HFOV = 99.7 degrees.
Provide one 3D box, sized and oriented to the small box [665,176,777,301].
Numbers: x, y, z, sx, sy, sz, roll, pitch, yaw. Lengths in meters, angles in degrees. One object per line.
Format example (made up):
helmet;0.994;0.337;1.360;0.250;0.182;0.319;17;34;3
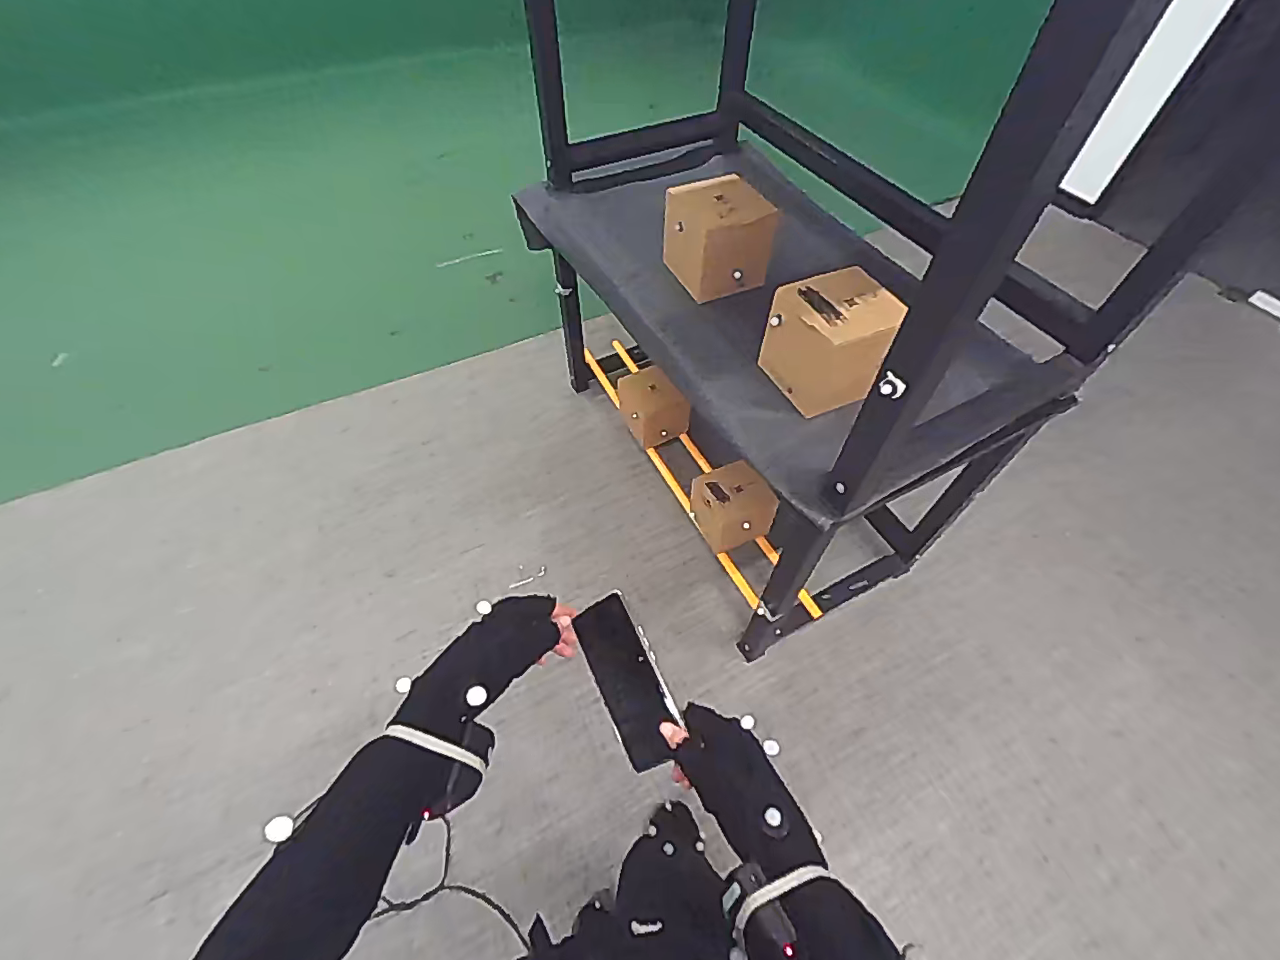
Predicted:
small box;0.162;-0.514;1.155;0.168;0.176;0.179;-20;57;-14

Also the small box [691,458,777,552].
small box;0.251;0.073;1.501;0.179;0.176;0.168;-20;57;-14
